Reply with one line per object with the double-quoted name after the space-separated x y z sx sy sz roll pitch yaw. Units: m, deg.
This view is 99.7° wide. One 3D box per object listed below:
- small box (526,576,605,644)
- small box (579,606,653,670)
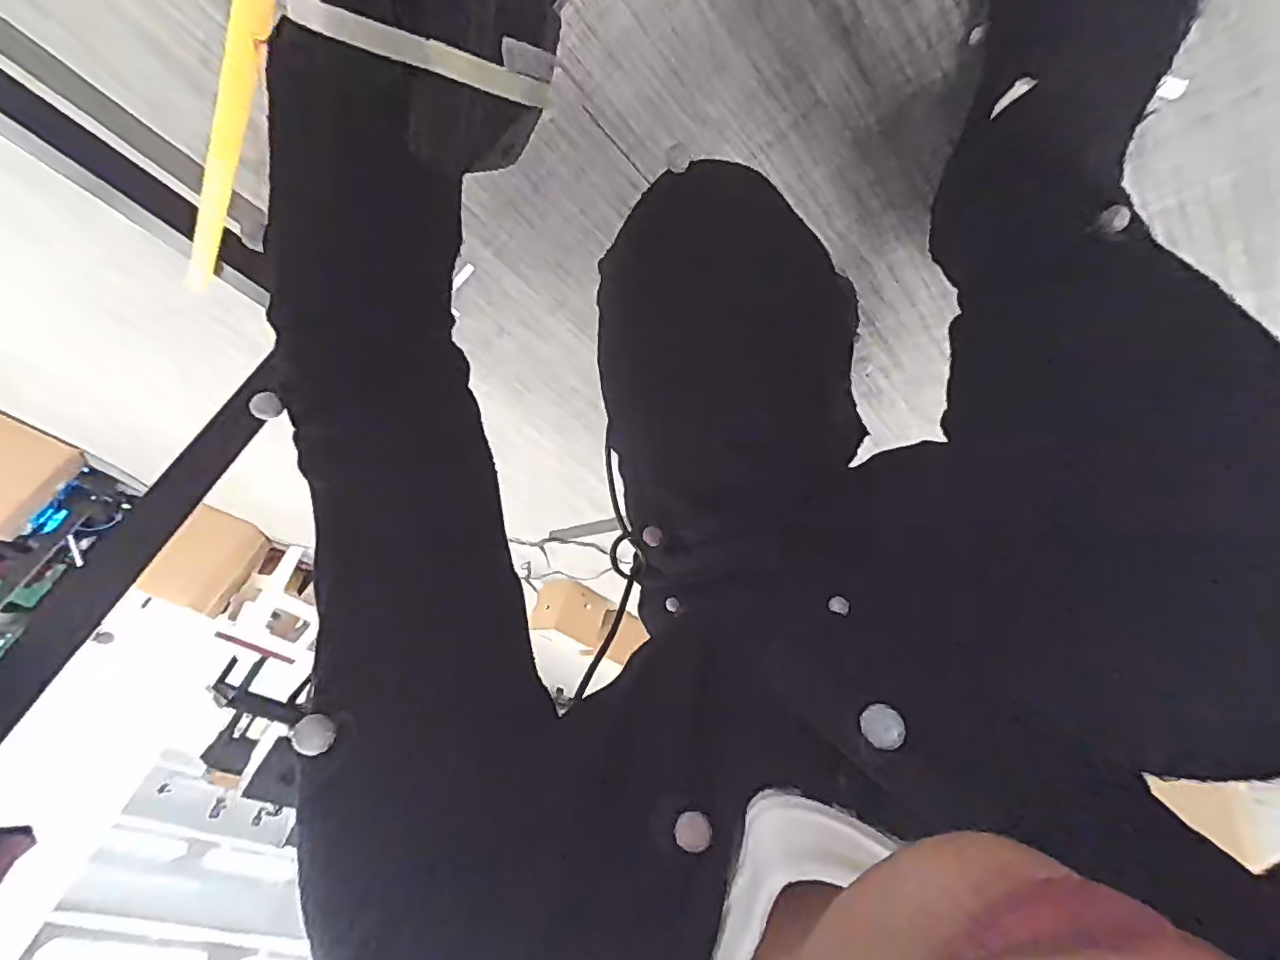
-0.243 0.432 1.801 0.168 0.176 0.179 37 146 -29 "small box"
-0.080 0.554 1.912 0.179 0.176 0.168 38 146 -31 "small box"
